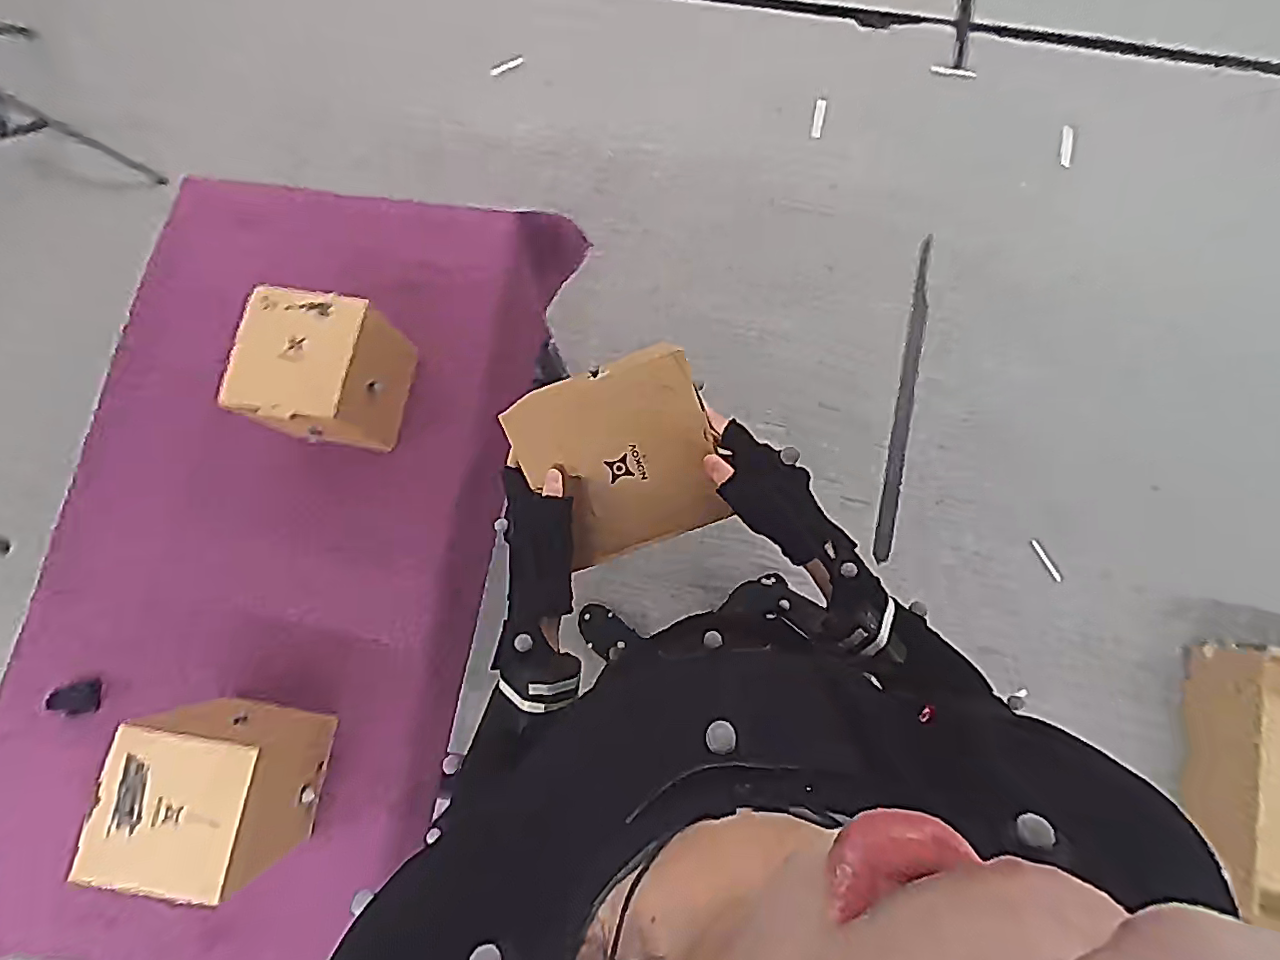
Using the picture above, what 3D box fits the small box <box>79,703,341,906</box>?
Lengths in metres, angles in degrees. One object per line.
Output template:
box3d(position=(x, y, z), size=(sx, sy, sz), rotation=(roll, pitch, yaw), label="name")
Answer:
box3d(position=(-0.529, 0.396, 0.694), size=(0.179, 0.176, 0.168), rotation=(8, 79, 3), label="small box")

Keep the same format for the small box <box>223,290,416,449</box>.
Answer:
box3d(position=(-0.460, -0.154, 0.806), size=(0.168, 0.176, 0.179), rotation=(8, 80, 4), label="small box")

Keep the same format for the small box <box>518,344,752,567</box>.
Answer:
box3d(position=(-0.004, -0.038, 0.568), size=(0.179, 0.176, 0.168), rotation=(-20, 104, 5), label="small box")
